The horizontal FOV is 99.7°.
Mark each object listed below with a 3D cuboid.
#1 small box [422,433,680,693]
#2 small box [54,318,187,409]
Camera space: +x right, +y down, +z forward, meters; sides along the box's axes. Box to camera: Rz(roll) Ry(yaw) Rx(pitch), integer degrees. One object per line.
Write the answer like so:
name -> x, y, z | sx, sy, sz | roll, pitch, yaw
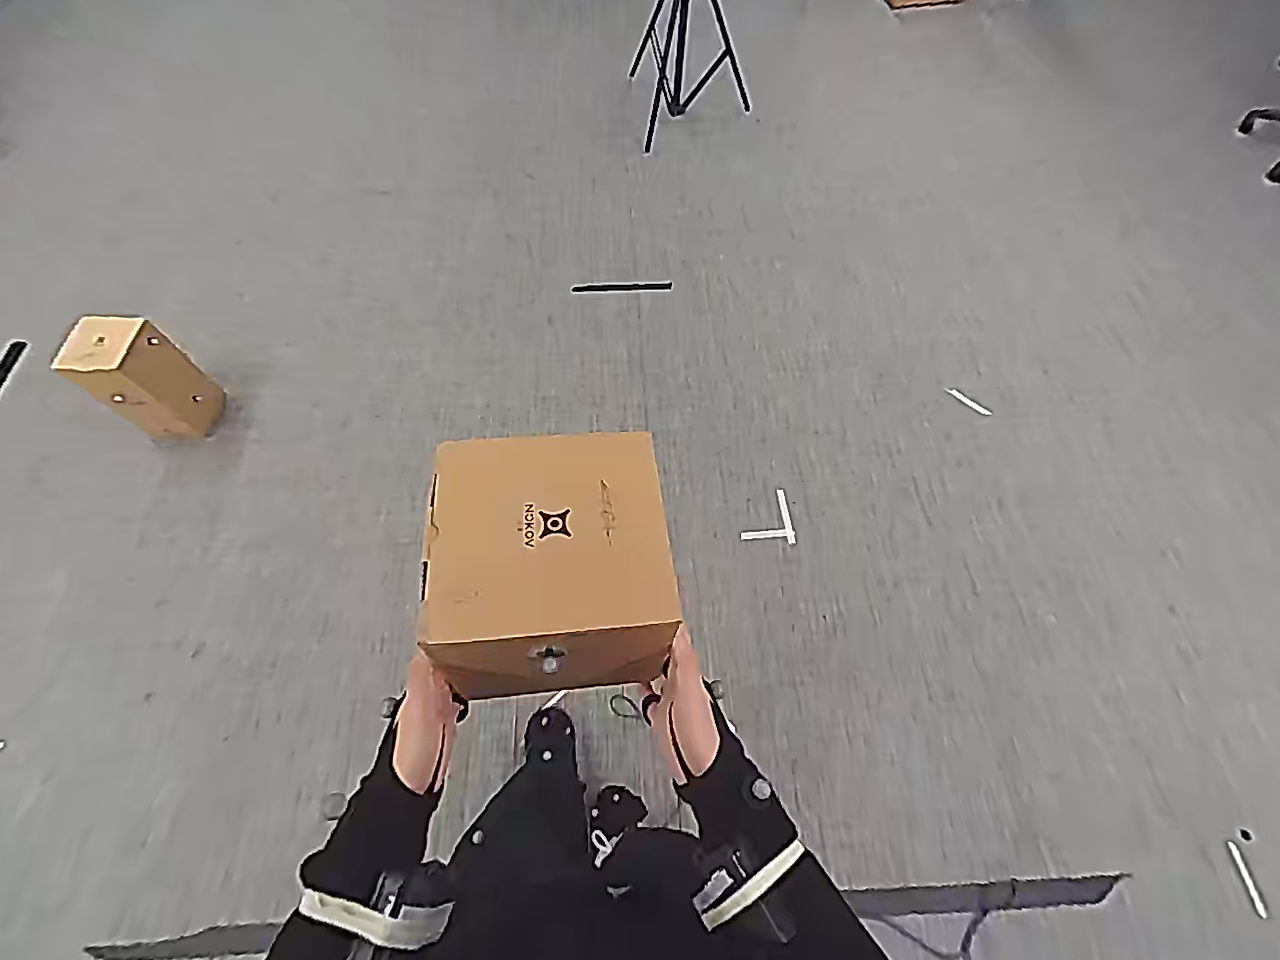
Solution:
small box -> -0.072, 0.077, 0.470 | 0.179, 0.176, 0.168 | -3, 57, -8
small box -> -1.384, -0.312, 1.458 | 0.168, 0.176, 0.179 | 1, 64, -1
